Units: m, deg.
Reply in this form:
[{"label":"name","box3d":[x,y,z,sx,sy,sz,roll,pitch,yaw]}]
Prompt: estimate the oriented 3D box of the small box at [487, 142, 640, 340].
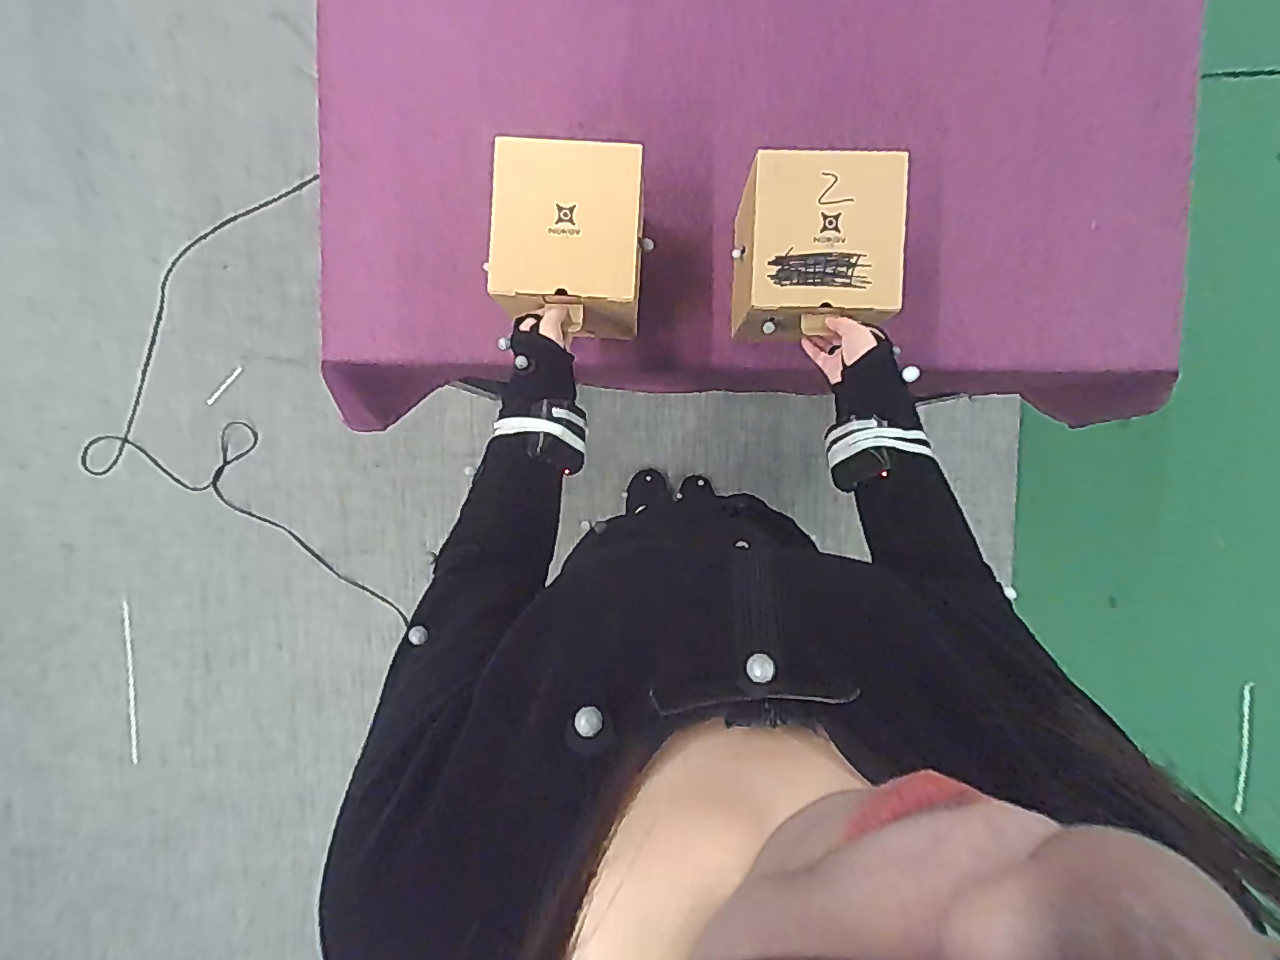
[{"label":"small box","box3d":[-0.089,-0.293,0.694,0.168,0.176,0.179,4,91,-1]}]
